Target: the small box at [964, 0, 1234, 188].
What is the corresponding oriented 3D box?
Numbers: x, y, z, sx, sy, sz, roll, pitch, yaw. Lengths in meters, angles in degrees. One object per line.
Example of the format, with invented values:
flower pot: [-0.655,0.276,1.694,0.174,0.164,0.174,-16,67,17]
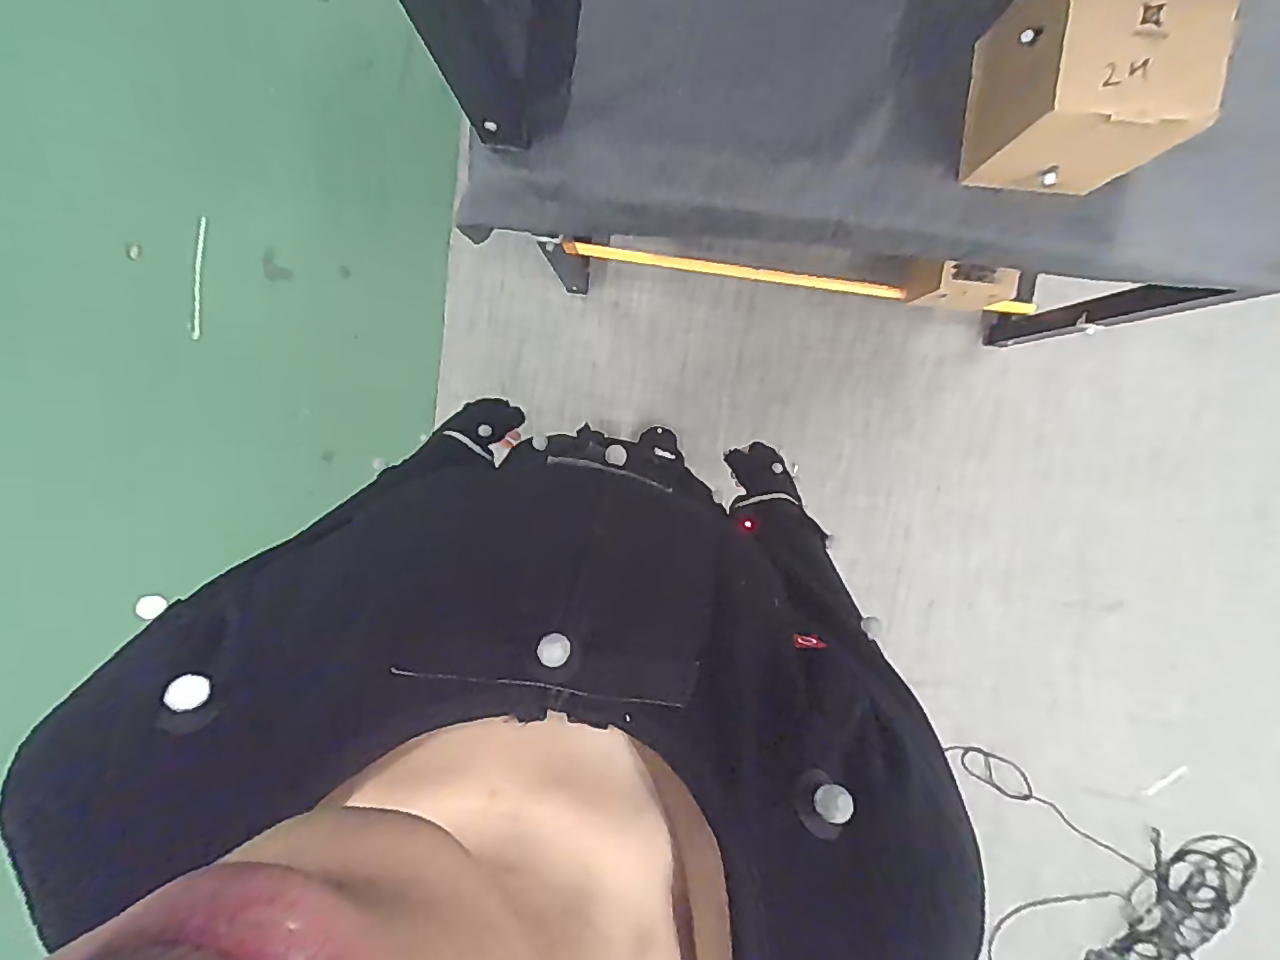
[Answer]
small box: [0.502,-0.466,0.615,0.168,0.176,0.179,5,96,0]
